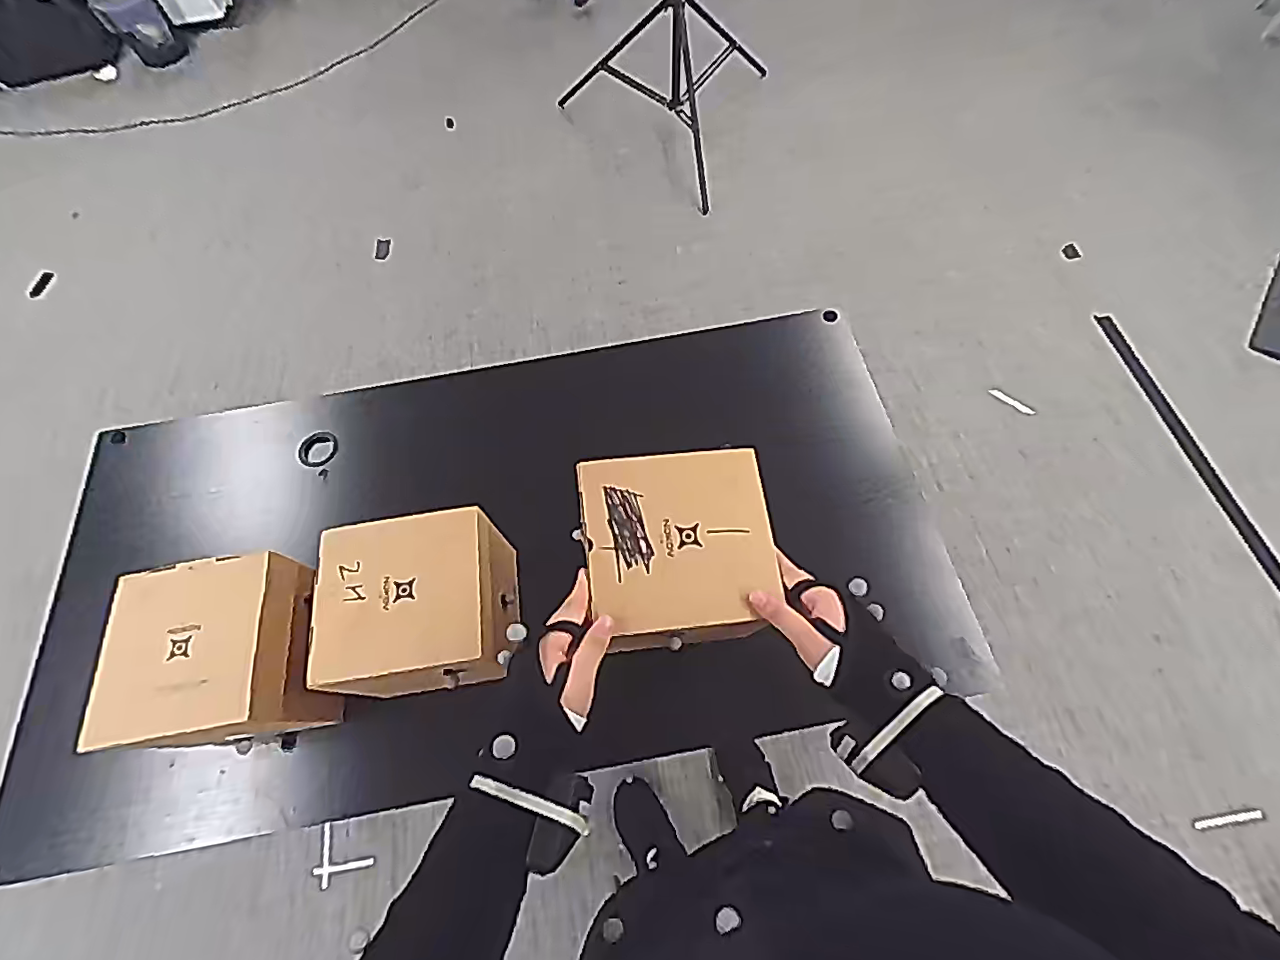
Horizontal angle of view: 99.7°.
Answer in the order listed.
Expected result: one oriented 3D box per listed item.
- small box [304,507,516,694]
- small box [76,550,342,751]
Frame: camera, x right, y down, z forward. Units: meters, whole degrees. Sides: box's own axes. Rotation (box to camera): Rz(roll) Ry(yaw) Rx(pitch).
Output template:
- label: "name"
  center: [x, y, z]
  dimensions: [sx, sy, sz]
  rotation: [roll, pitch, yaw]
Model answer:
- label: "small box"
  center: [-0.247, 0.147, 0.628]
  dimensions: [0.179, 0.176, 0.168]
  rotation: [-9, 65, -1]
- label: "small box"
  center: [-0.461, 0.198, 0.617]
  dimensions: [0.168, 0.176, 0.179]
  rotation: [-11, 66, -1]
